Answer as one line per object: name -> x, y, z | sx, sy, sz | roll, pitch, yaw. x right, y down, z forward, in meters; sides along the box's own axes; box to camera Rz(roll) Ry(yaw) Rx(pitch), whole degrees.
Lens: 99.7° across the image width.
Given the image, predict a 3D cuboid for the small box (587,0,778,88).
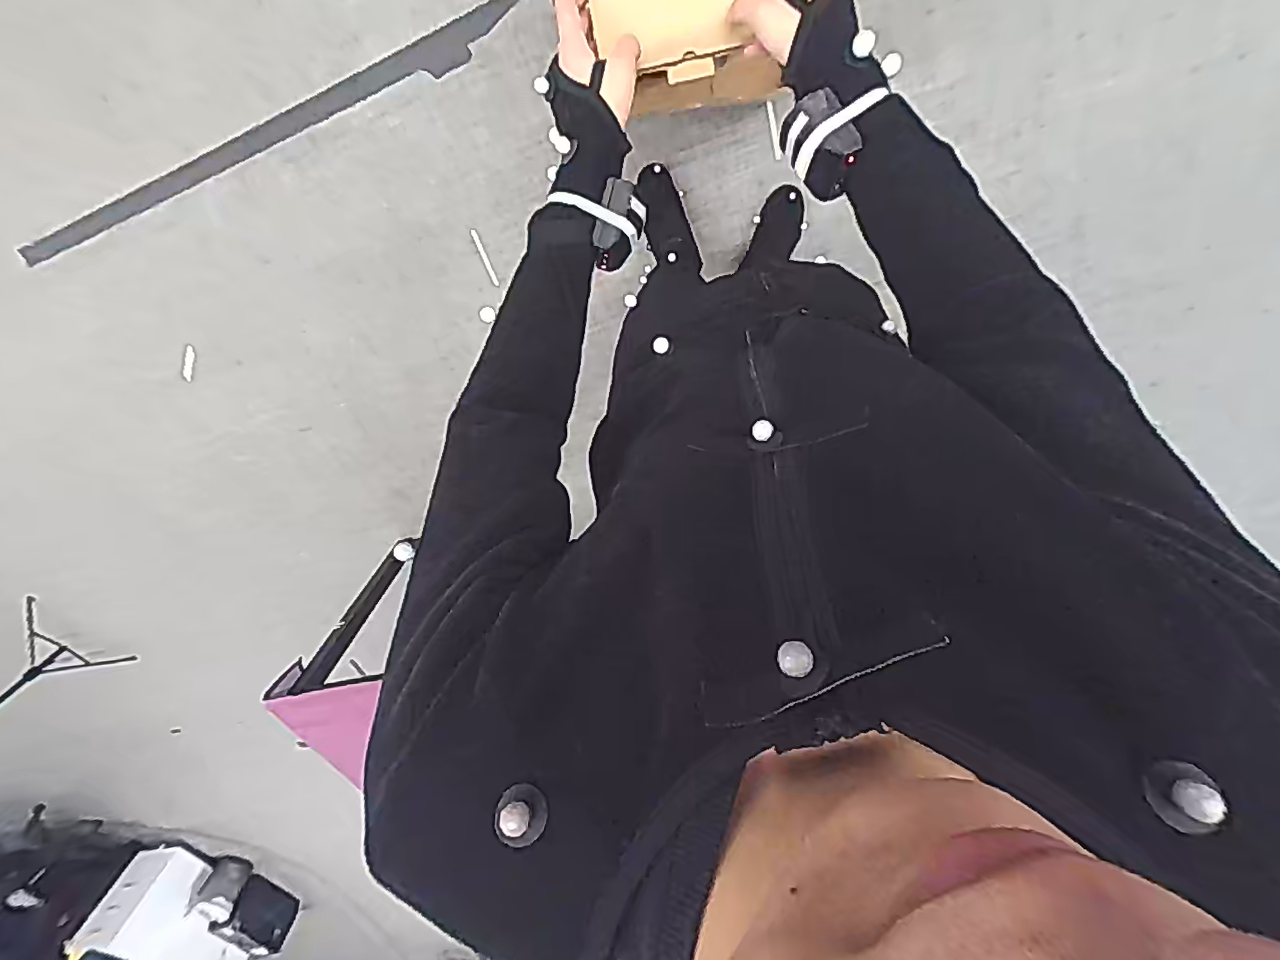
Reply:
small box -> 0.032, -0.494, 0.501 | 0.168, 0.176, 0.179 | -8, 130, 7
